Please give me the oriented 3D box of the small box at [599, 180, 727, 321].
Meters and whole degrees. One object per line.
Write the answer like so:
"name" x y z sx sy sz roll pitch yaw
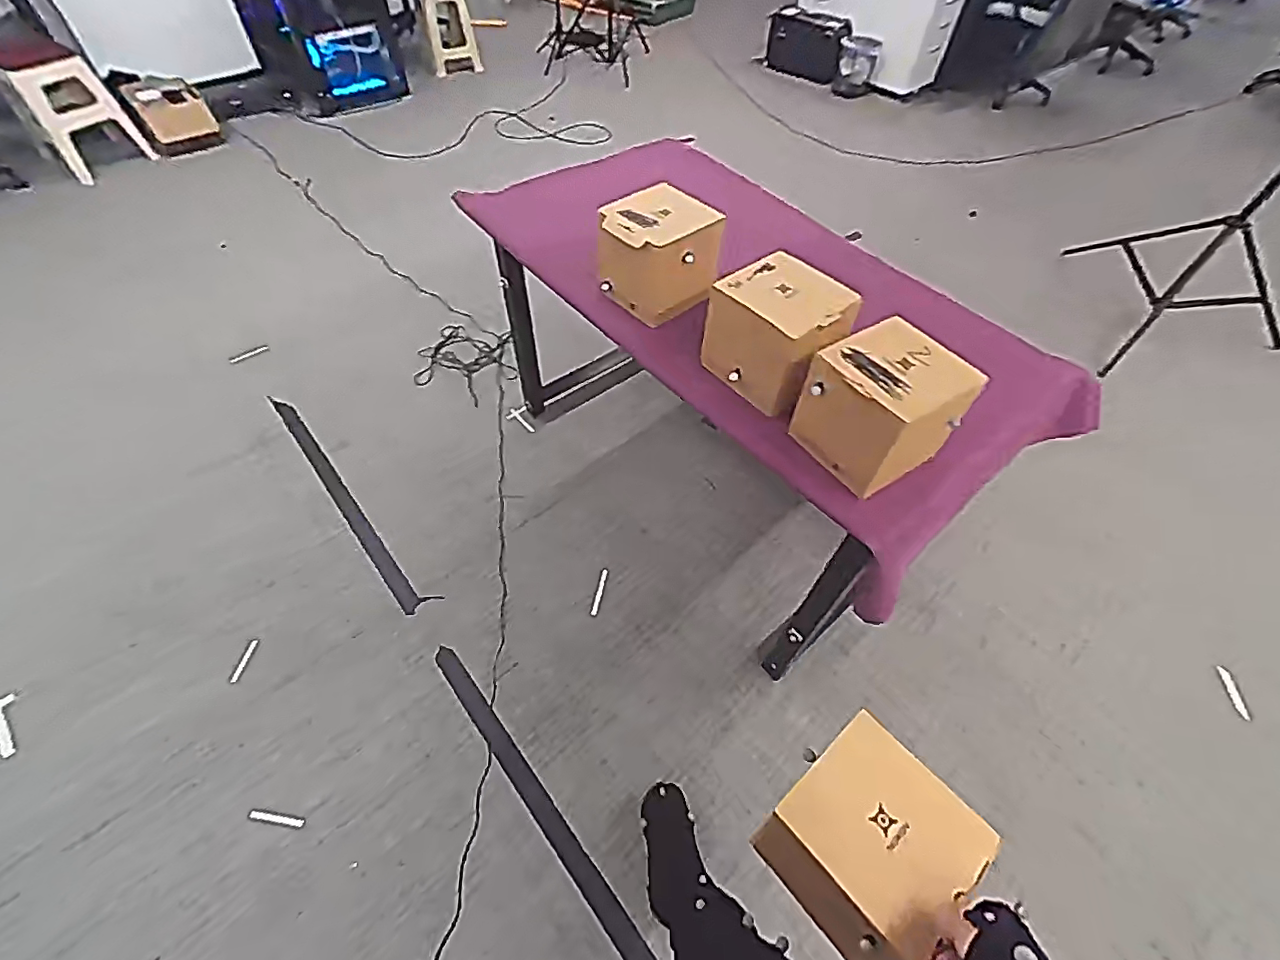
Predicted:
"small box" 0.041 -0.436 1.037 0.179 0.176 0.168 -36 63 -25

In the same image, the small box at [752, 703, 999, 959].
"small box" 0.254 0.404 0.624 0.168 0.176 0.179 -32 57 -27
